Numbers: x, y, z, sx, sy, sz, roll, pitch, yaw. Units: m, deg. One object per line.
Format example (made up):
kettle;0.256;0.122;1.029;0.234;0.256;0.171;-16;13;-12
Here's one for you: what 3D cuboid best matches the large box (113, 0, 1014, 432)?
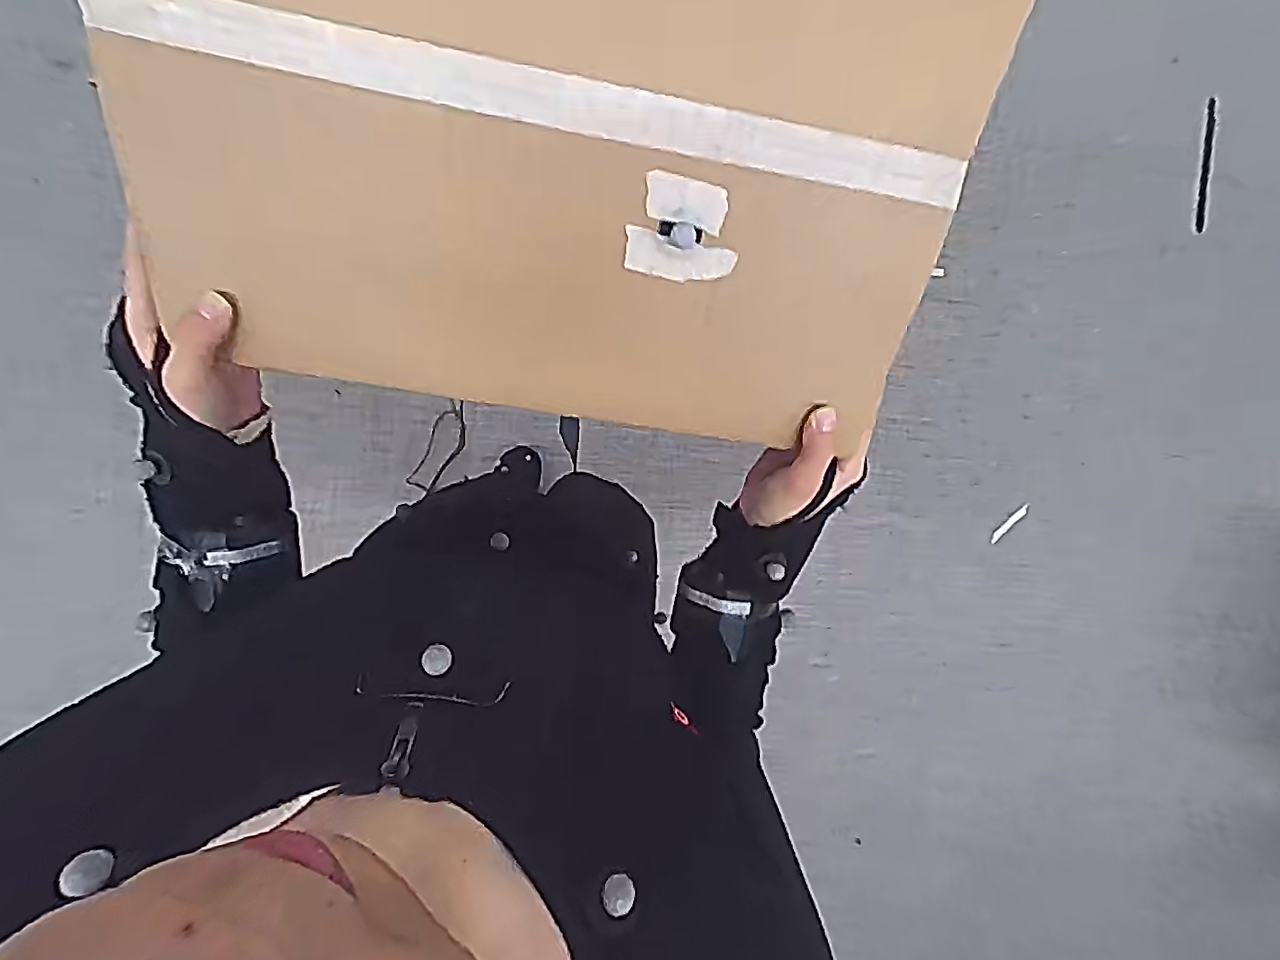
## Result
large box;-0.044;-0.253;0.389;0.408;0.320;0.320;7;119;-7
